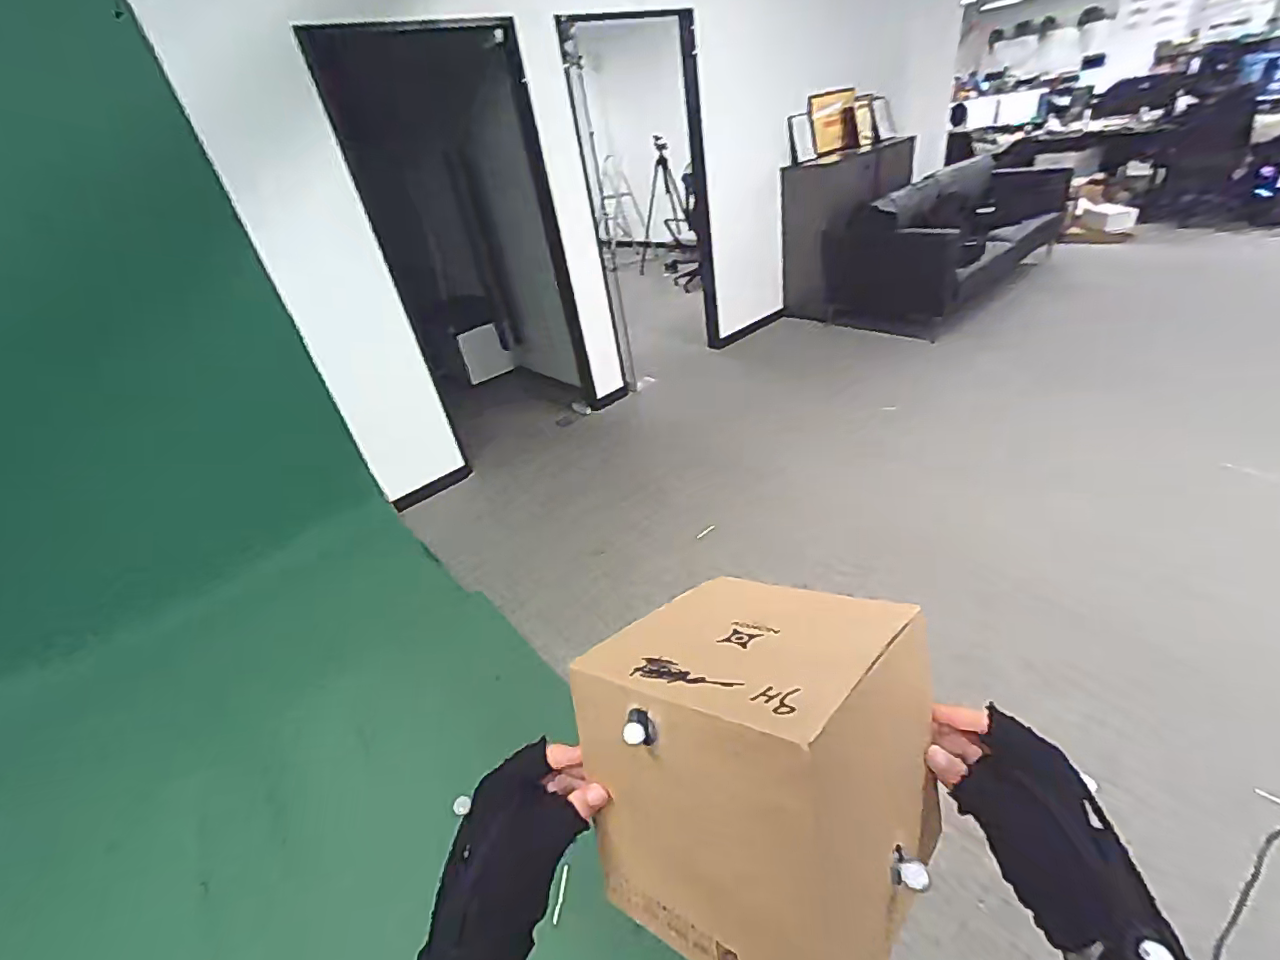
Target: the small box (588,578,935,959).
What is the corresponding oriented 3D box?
[{"bbox_3d":[0.088,0.180,0.369,0.168,0.176,0.179,-2,8,44],"label":"small box"}]
